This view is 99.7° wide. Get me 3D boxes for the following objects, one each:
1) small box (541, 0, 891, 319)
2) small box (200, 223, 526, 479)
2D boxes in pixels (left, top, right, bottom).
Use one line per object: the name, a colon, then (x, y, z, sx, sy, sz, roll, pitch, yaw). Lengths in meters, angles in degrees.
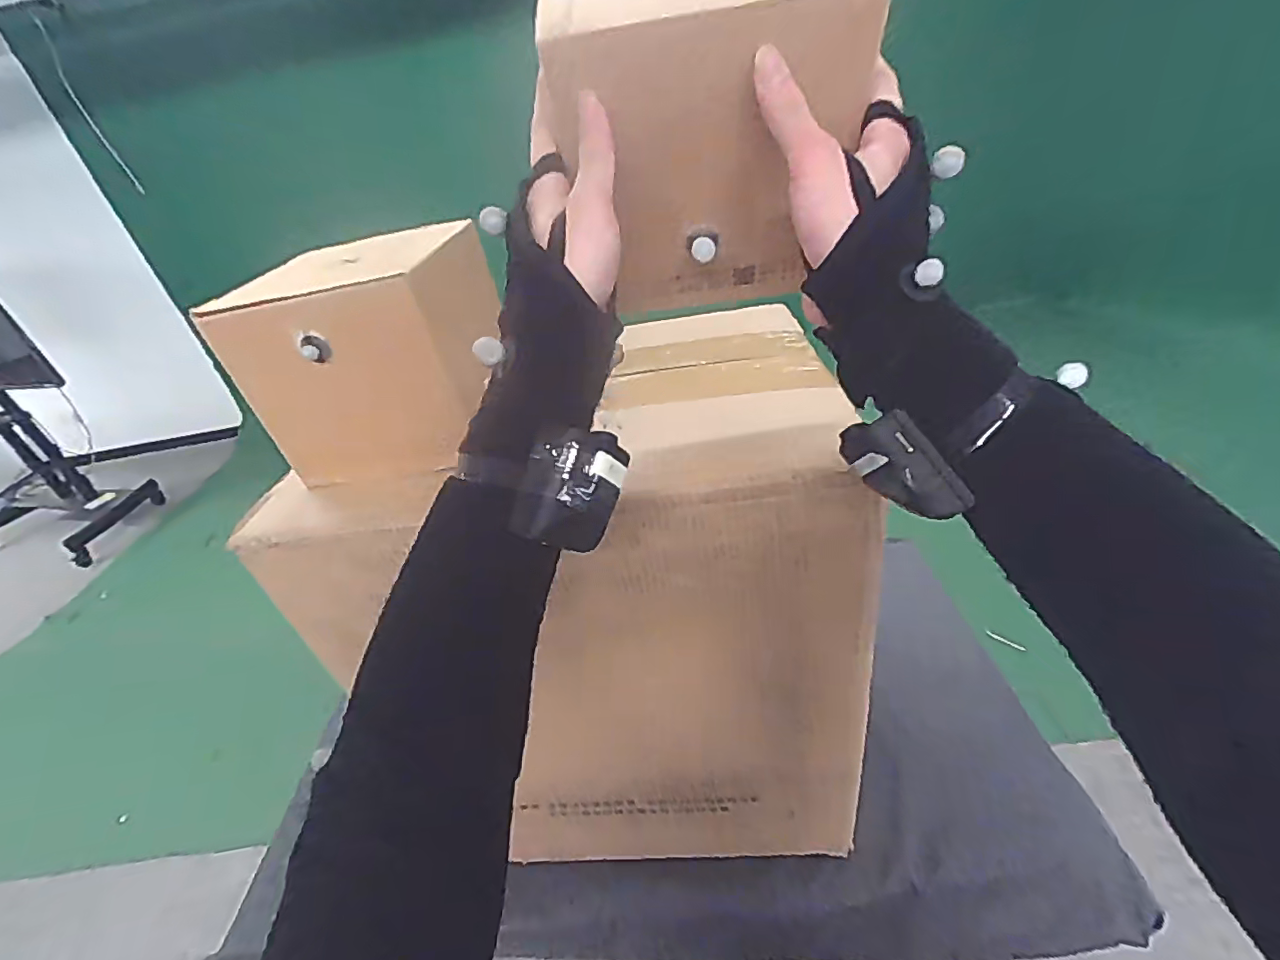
small box: (0.040, -0.236, 0.363, 0.168, 0.176, 0.179, -6, 56, 4)
small box: (-0.223, -0.115, 0.494, 0.179, 0.176, 0.168, -6, 38, 6)
